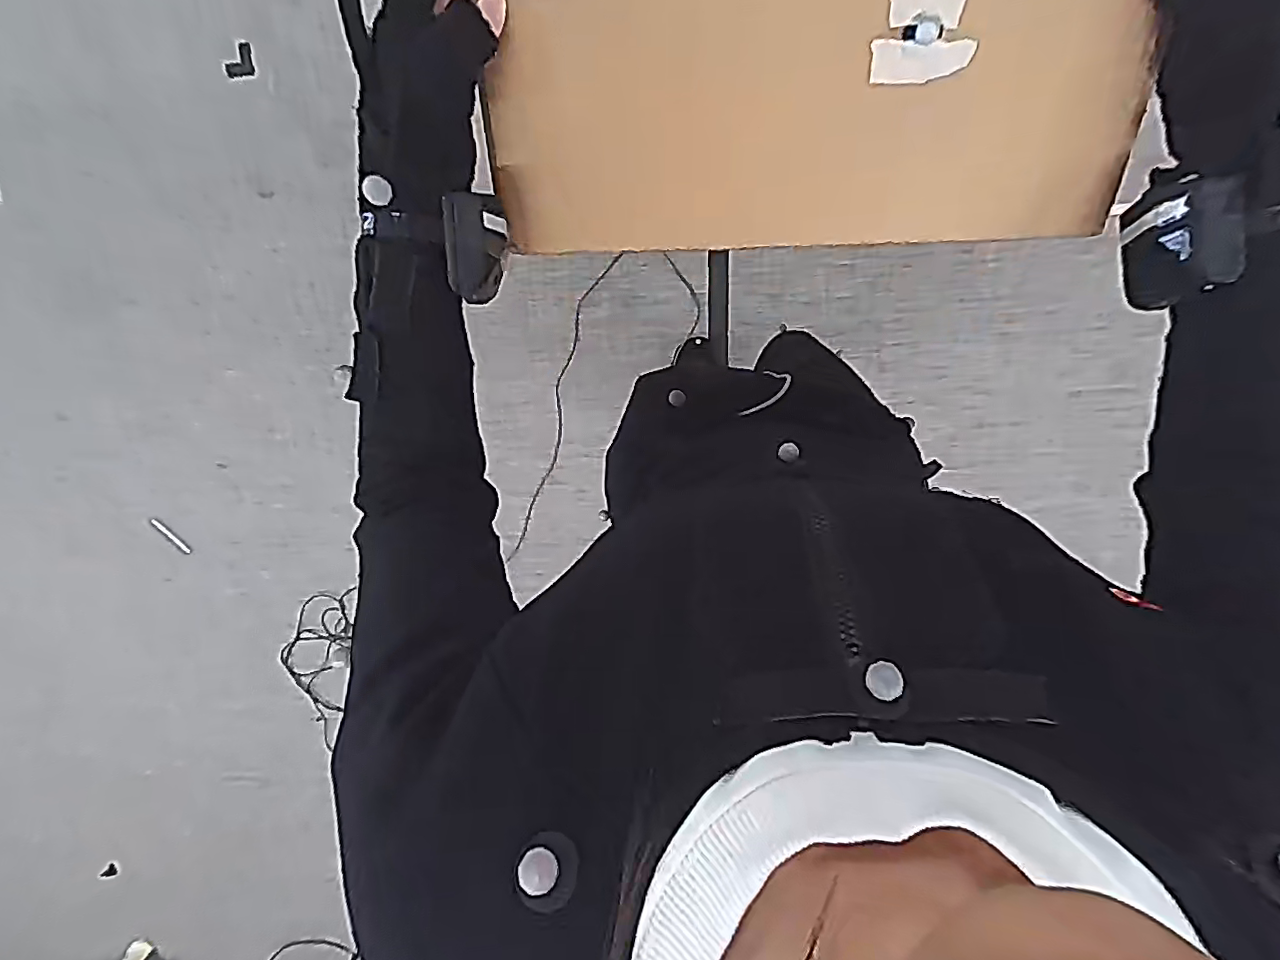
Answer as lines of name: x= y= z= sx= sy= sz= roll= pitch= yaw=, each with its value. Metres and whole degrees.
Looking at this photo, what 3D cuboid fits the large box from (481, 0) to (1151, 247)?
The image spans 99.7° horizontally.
large box: x=0.107 y=-0.382 z=0.443 sx=0.408 sy=0.320 sz=0.320 roll=0 pitch=119 yaw=5
